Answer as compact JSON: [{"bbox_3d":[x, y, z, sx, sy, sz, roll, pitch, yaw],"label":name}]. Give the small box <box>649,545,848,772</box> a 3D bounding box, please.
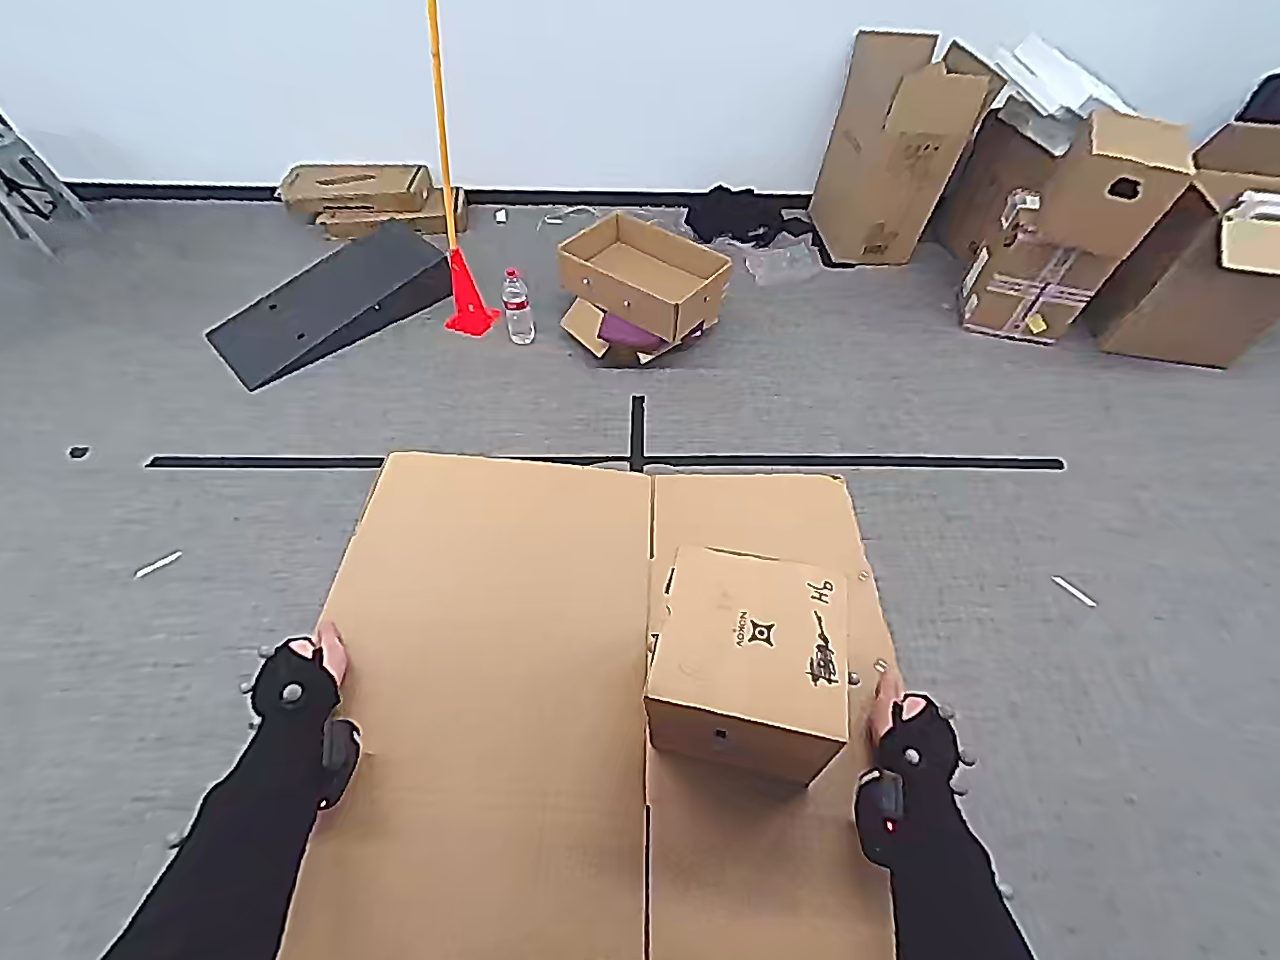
[{"bbox_3d":[0.116,0.194,0.581,0.179,0.176,0.168,8,51,12],"label":"small box"}]
